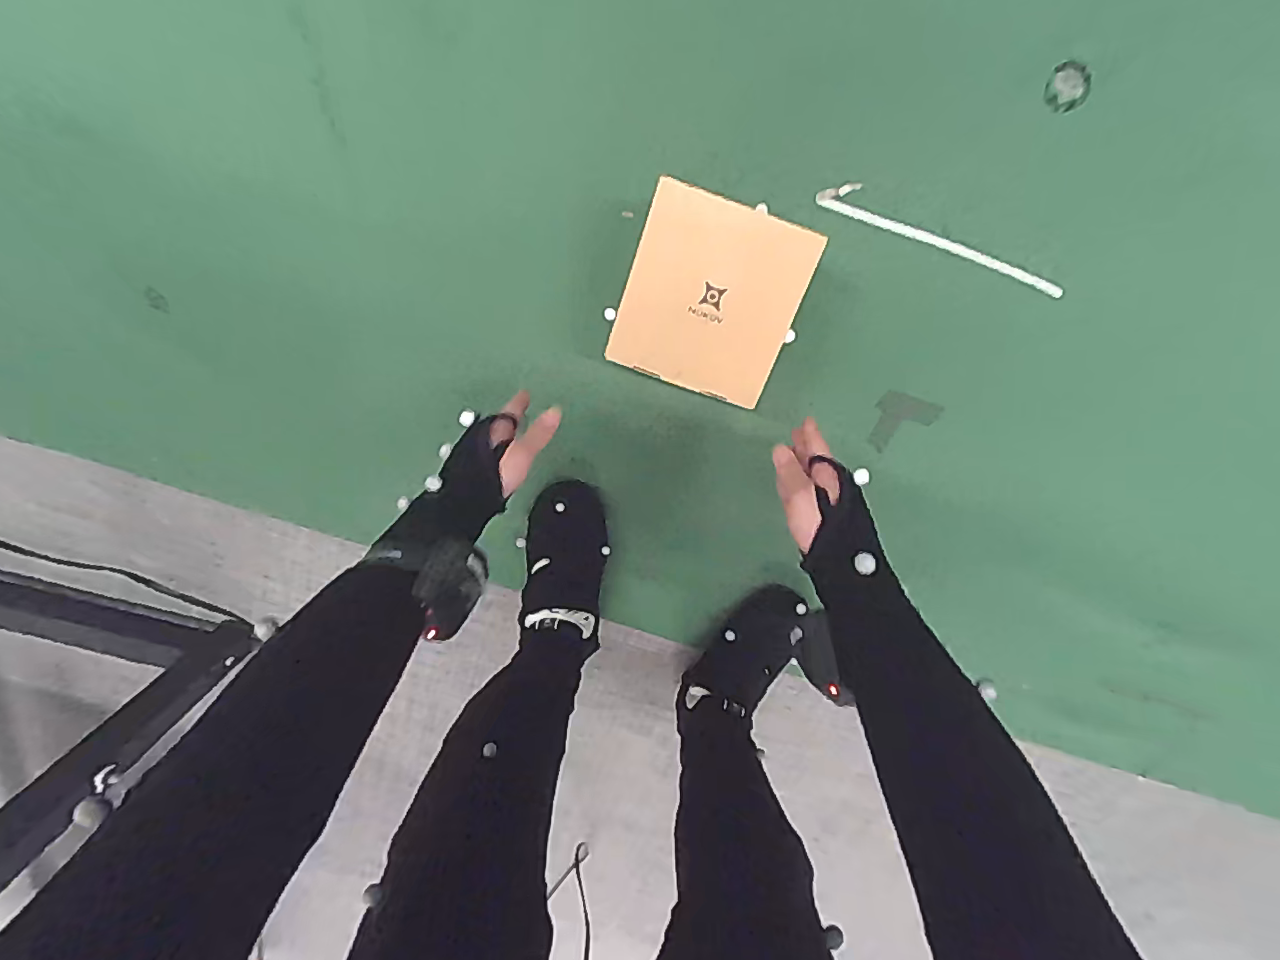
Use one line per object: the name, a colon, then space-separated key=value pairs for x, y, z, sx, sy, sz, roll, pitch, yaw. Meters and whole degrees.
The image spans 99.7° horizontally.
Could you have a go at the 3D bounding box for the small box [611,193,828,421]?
small box: x=0.076 y=-0.190 z=0.600 sx=0.168 sy=0.176 sz=0.179 roll=18 pitch=112 yaw=-3
